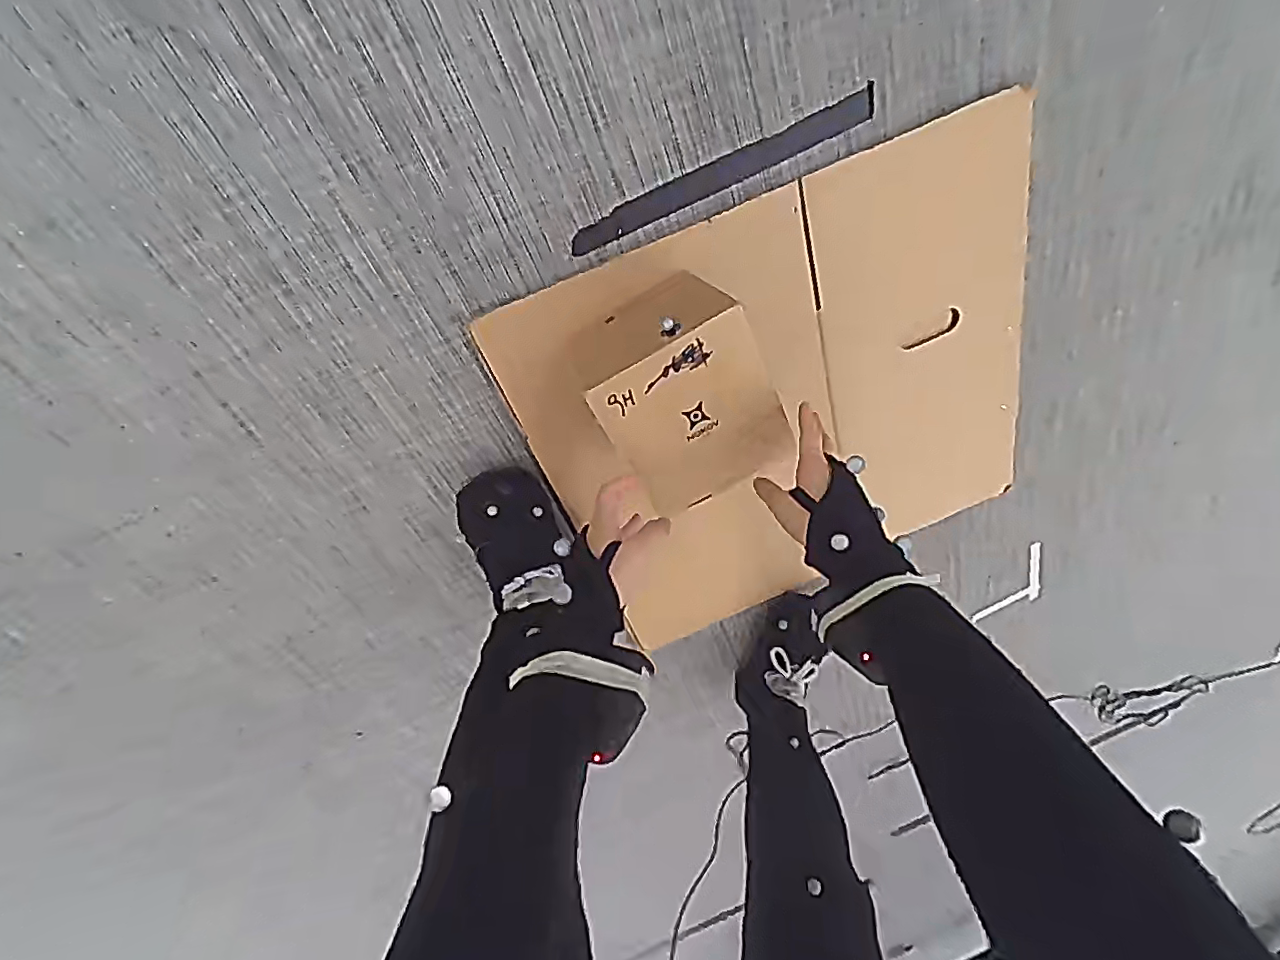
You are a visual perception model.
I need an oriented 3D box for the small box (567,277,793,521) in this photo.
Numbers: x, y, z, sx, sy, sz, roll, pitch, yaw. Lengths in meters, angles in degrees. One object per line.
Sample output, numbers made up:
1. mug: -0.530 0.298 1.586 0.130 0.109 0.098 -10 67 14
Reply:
1. small box: 0.037 -0.095 0.595 0.168 0.176 0.179 -30 124 3
